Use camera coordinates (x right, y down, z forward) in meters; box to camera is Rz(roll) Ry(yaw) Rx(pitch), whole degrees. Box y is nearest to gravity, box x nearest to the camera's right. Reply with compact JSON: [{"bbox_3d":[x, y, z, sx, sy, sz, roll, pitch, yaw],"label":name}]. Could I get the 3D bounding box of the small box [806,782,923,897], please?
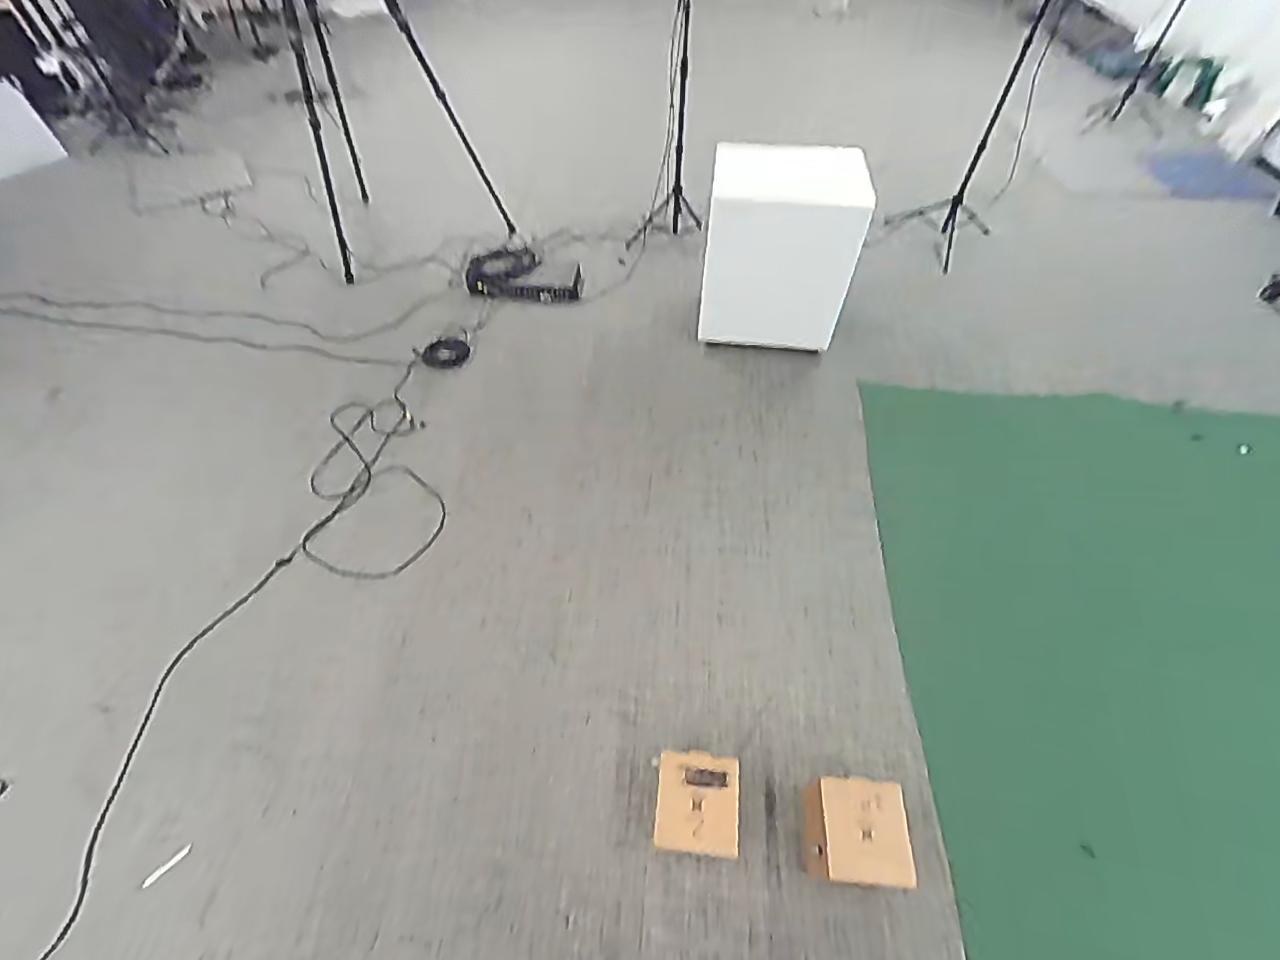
[{"bbox_3d":[0.450,0.740,1.114,0.168,0.176,0.179,5,53,3],"label":"small box"}]
